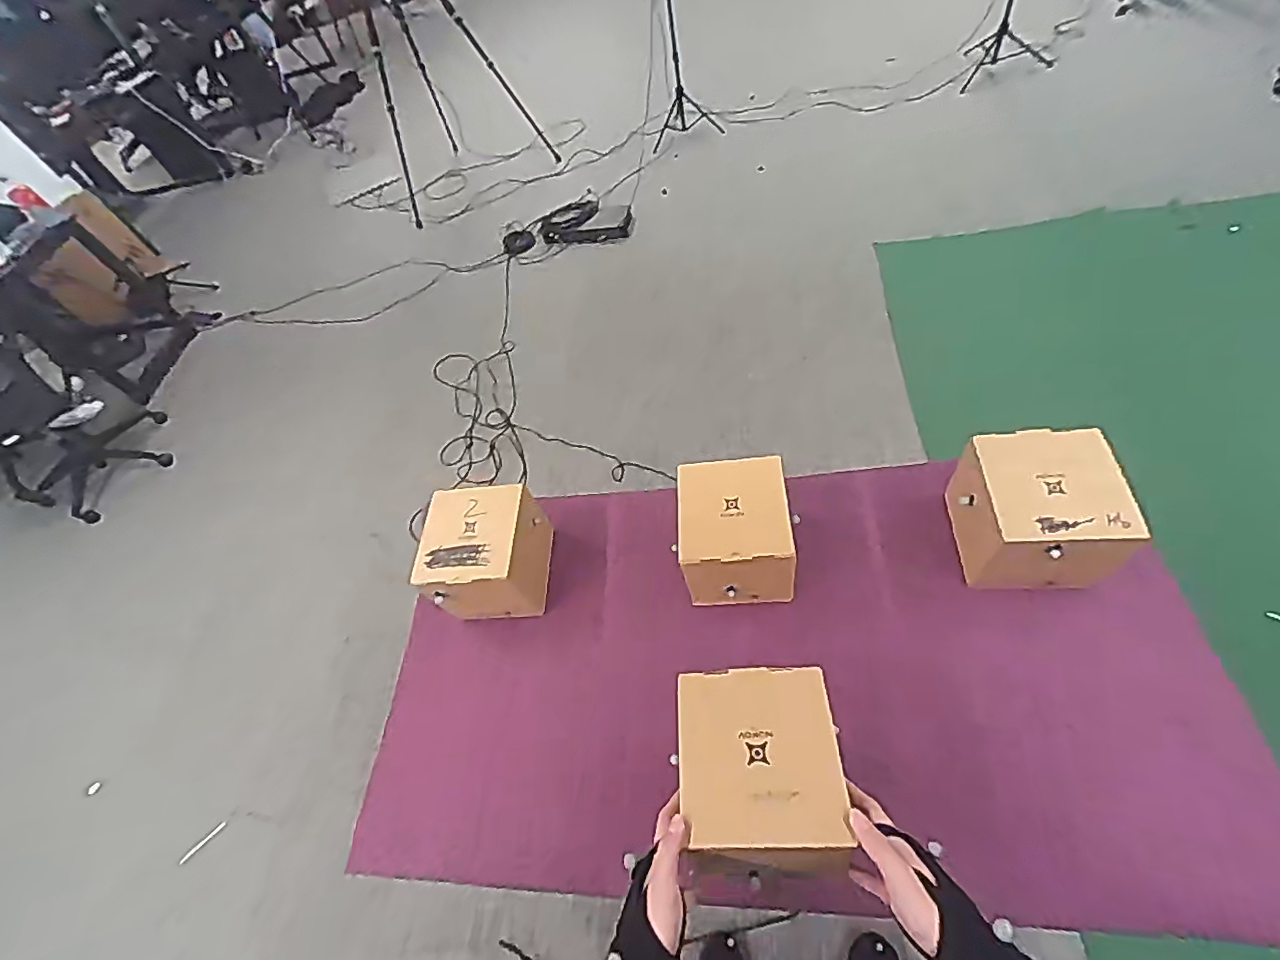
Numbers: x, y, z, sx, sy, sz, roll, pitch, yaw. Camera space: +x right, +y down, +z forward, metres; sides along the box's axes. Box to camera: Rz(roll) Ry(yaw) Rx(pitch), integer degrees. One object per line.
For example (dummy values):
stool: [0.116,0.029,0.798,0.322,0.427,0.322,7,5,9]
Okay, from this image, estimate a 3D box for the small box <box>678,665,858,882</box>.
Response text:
small box: [0.134,0.330,0.612,0.168,0.176,0.179,-5,46,9]

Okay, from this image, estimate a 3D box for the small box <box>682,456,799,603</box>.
small box: [0.156,0.084,0.871,0.168,0.176,0.179,-5,56,9]

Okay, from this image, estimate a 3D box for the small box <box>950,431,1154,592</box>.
small box: [0.577,0.050,0.792,0.168,0.176,0.179,-3,56,13]
